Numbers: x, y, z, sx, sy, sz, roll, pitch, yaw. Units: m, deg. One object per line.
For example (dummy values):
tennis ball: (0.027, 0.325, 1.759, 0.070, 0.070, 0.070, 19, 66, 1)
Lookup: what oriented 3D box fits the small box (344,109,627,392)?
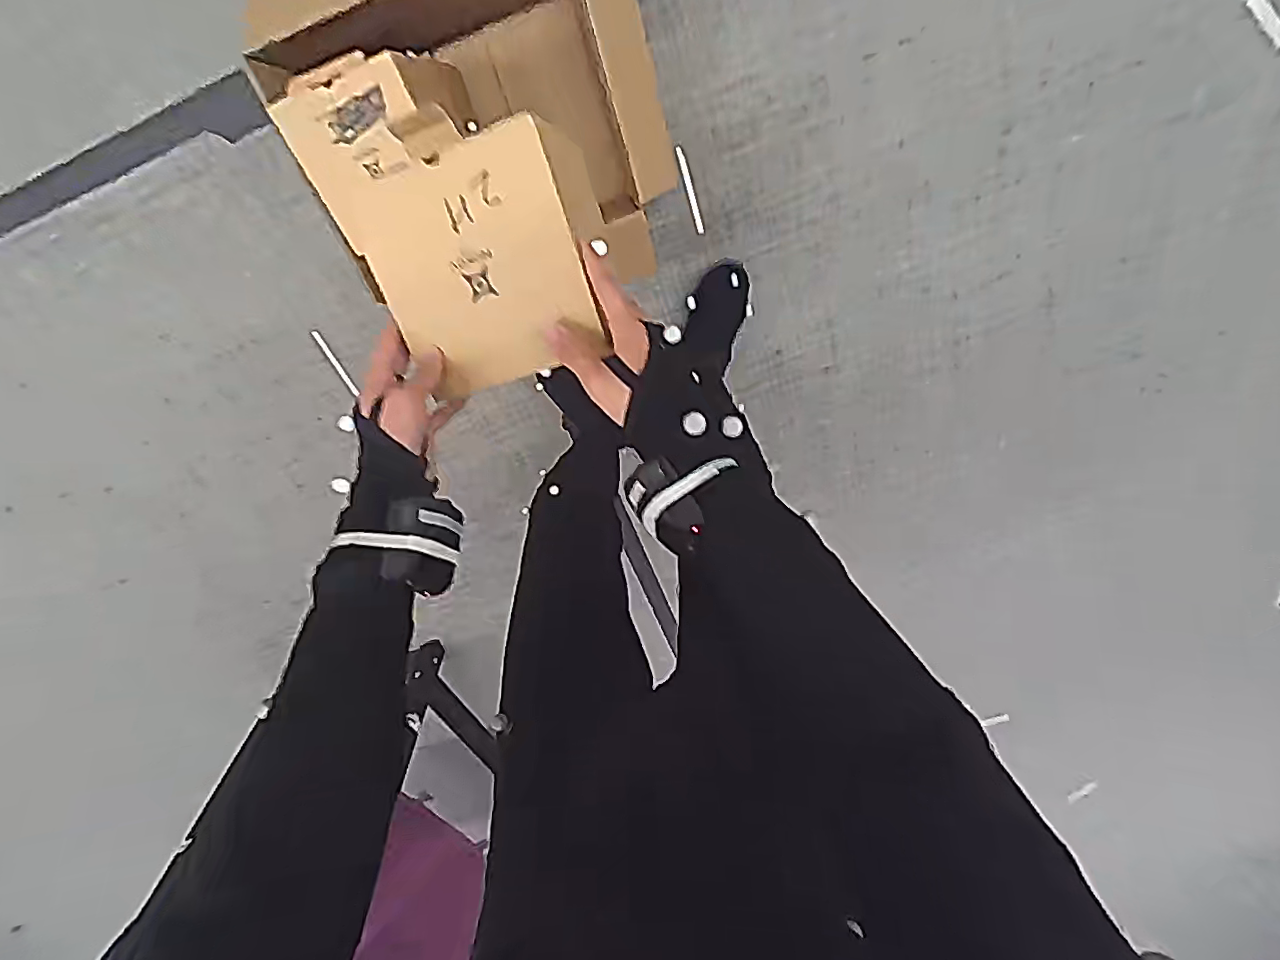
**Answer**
small box: (-0.119, -0.202, 0.500, 0.168, 0.176, 0.179, -13, 111, 12)
